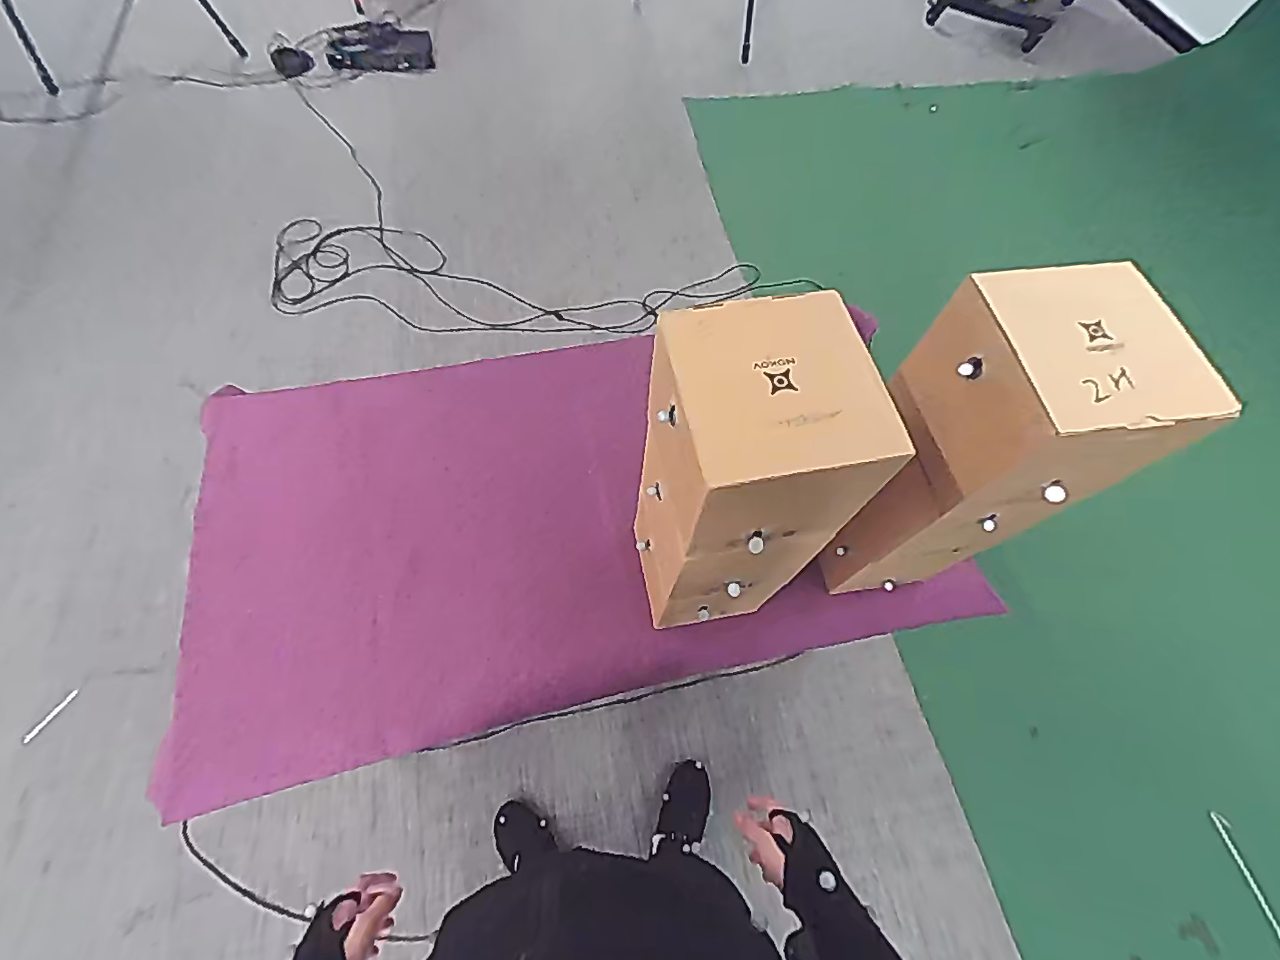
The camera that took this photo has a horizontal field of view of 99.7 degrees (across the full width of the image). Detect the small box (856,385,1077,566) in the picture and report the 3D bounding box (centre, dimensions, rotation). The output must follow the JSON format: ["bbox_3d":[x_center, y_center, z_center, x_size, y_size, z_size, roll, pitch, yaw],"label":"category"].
[{"bbox_3d":[0.377,-0.007,0.684,0.168,0.176,0.179,-7,63,-5],"label":"small box"}]

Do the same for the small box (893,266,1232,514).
[{"bbox_3d":[0.385,-0.083,0.538,0.168,0.176,0.179,-6,65,-5],"label":"small box"}]

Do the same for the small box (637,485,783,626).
[{"bbox_3d":[0.091,0.109,0.798,0.168,0.176,0.179,-9,63,-7],"label":"small box"}]

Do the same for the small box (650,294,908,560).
[{"bbox_3d":[0.106,-0.043,0.509,0.168,0.176,0.179,-9,64,-6],"label":"small box"}]

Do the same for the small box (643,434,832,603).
[{"bbox_3d":[0.100,0.033,0.653,0.168,0.176,0.179,-8,64,-7],"label":"small box"}]
